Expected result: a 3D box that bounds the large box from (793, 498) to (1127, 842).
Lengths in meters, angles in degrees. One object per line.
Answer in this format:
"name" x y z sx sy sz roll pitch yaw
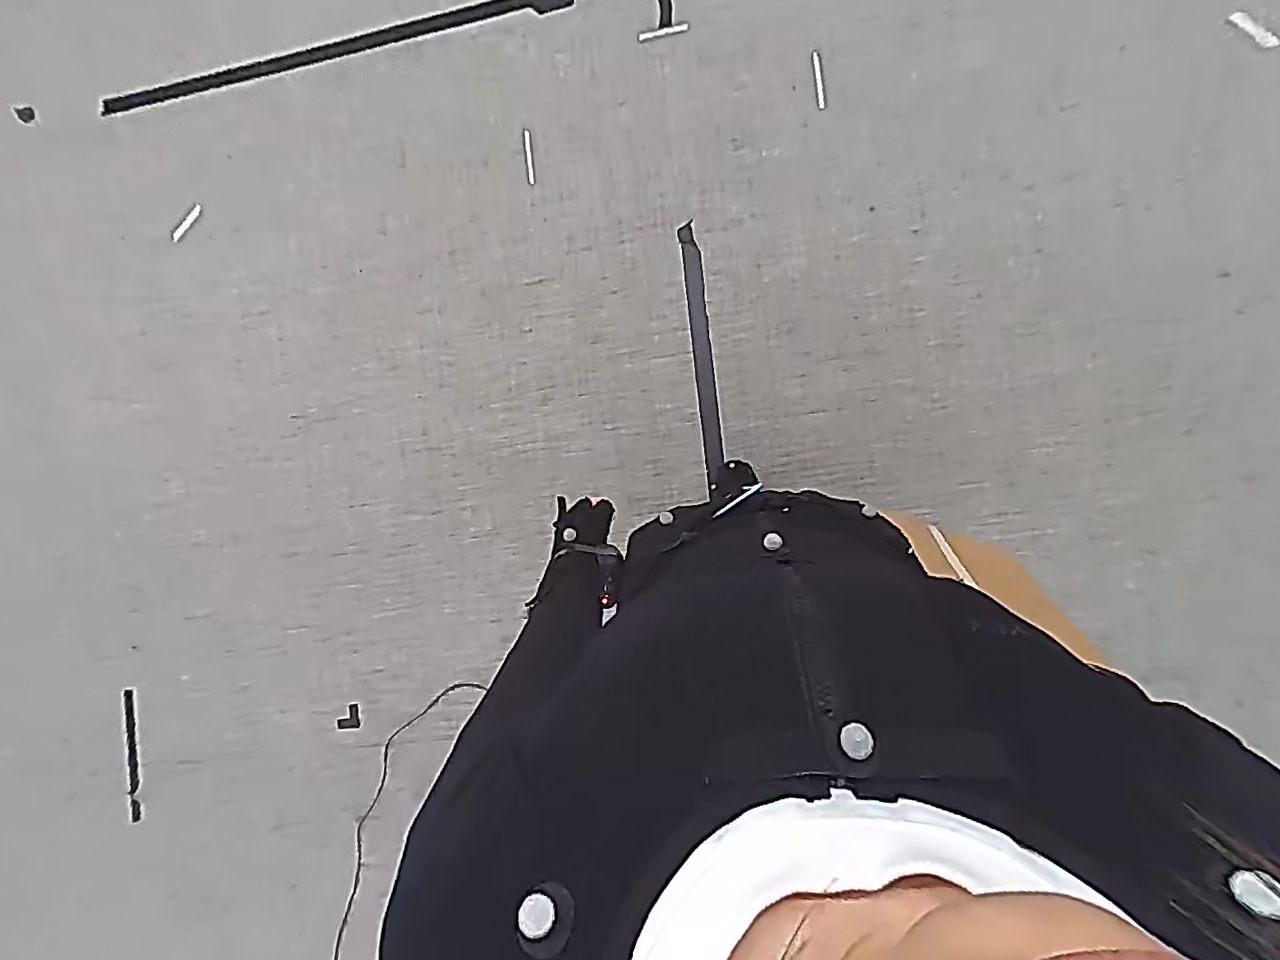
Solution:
"large box" 0.466 0.284 0.921 0.320 0.408 0.320 18 115 8
